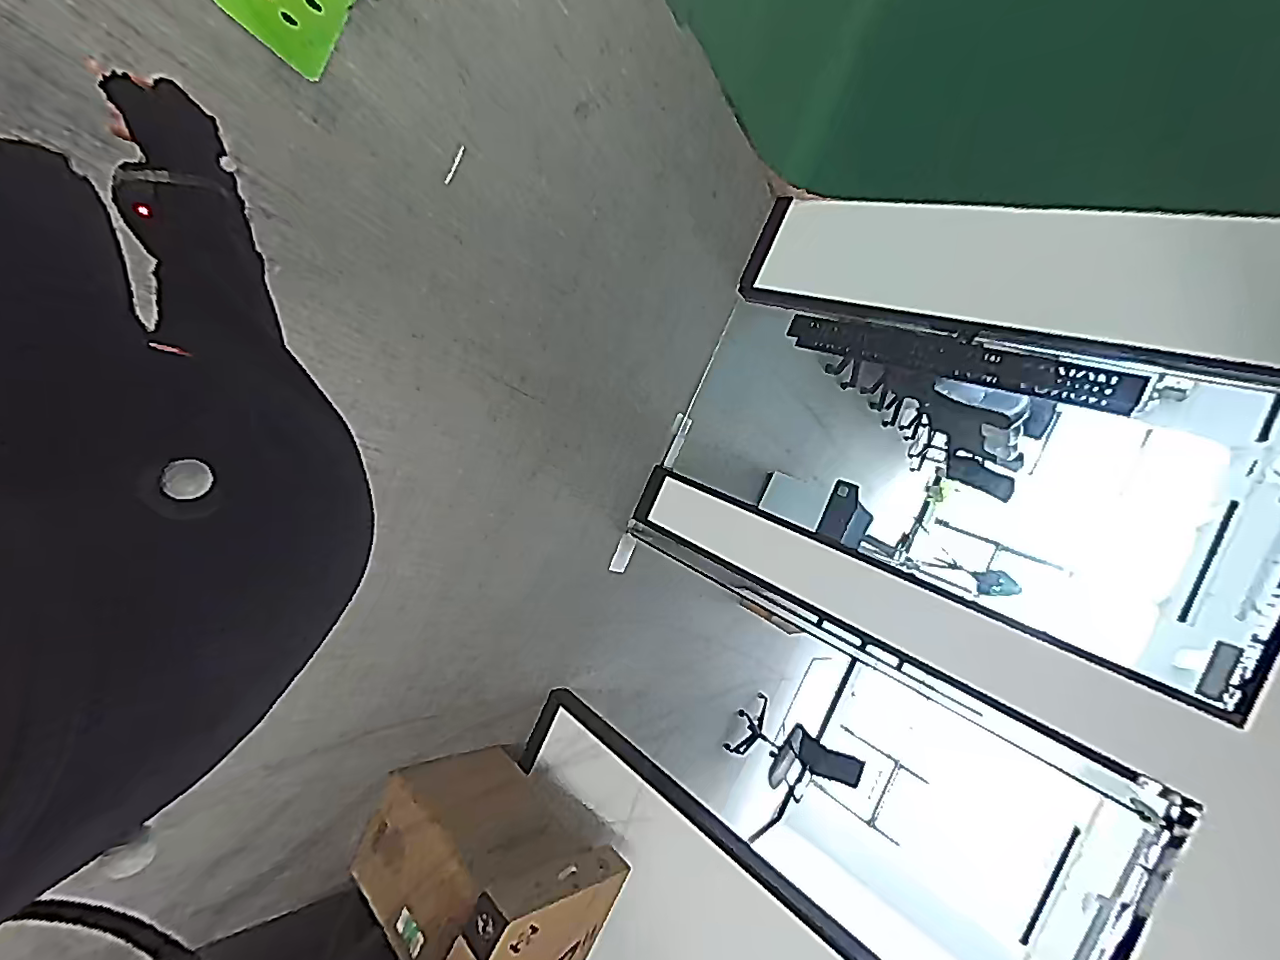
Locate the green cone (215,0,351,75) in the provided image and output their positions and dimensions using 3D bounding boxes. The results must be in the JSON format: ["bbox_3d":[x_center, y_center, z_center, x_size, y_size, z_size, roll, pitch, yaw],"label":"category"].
[{"bbox_3d":[-0.573,-0.892,0.959,0.200,0.368,0.202,22,93,-55],"label":"green cone"}]
